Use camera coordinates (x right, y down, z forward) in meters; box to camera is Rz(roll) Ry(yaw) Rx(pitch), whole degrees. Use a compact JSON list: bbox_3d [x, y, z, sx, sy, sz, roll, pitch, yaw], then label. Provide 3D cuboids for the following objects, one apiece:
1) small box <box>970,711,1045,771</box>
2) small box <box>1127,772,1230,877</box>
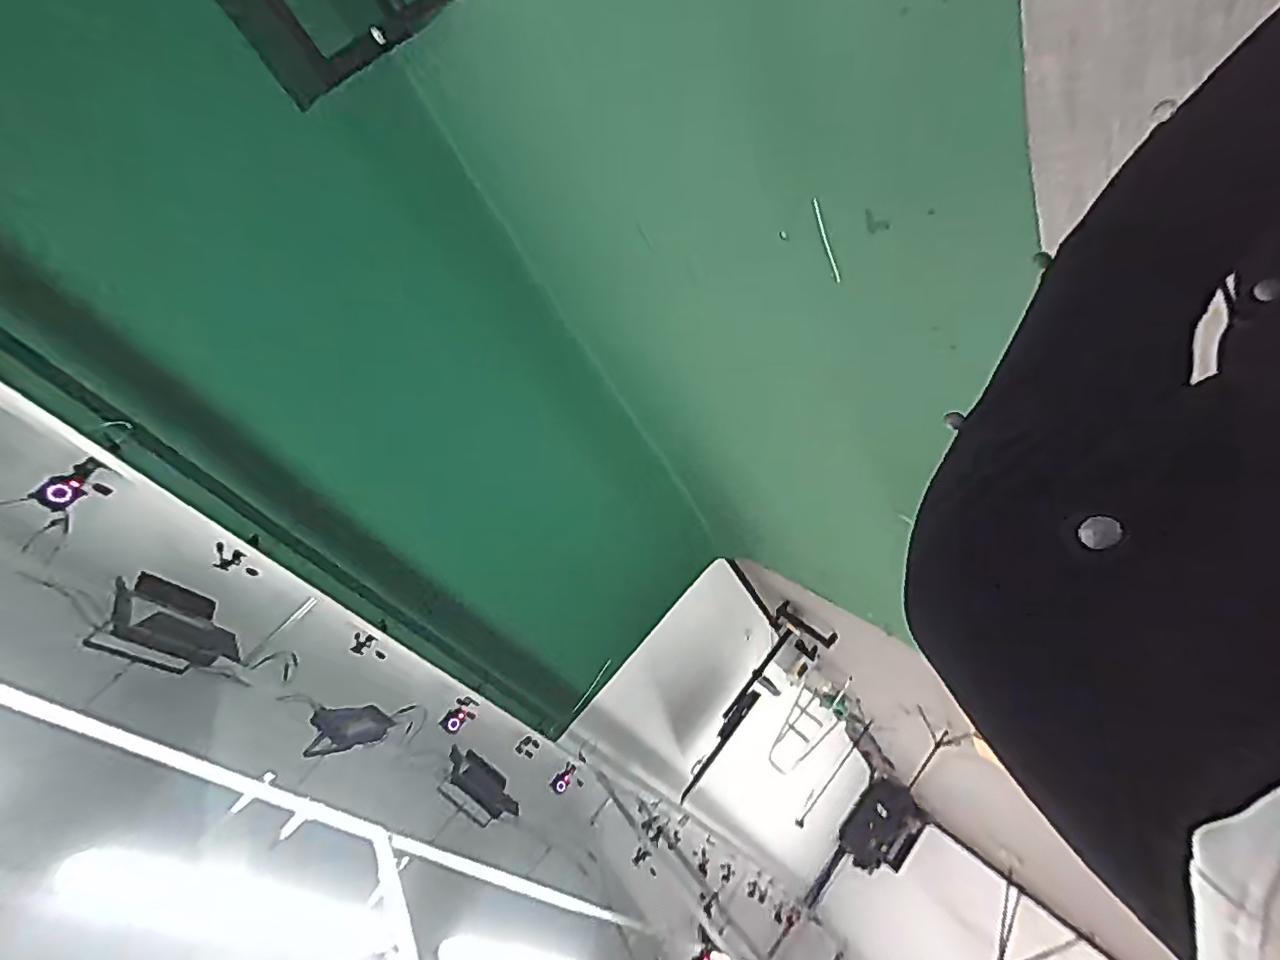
[{"bbox_3d":[1.303,0.879,1.908,0.168,0.176,0.179,24,156,50],"label":"small box"},{"bbox_3d":[1.558,0.994,1.568,0.168,0.176,0.179,25,157,51],"label":"small box"}]
